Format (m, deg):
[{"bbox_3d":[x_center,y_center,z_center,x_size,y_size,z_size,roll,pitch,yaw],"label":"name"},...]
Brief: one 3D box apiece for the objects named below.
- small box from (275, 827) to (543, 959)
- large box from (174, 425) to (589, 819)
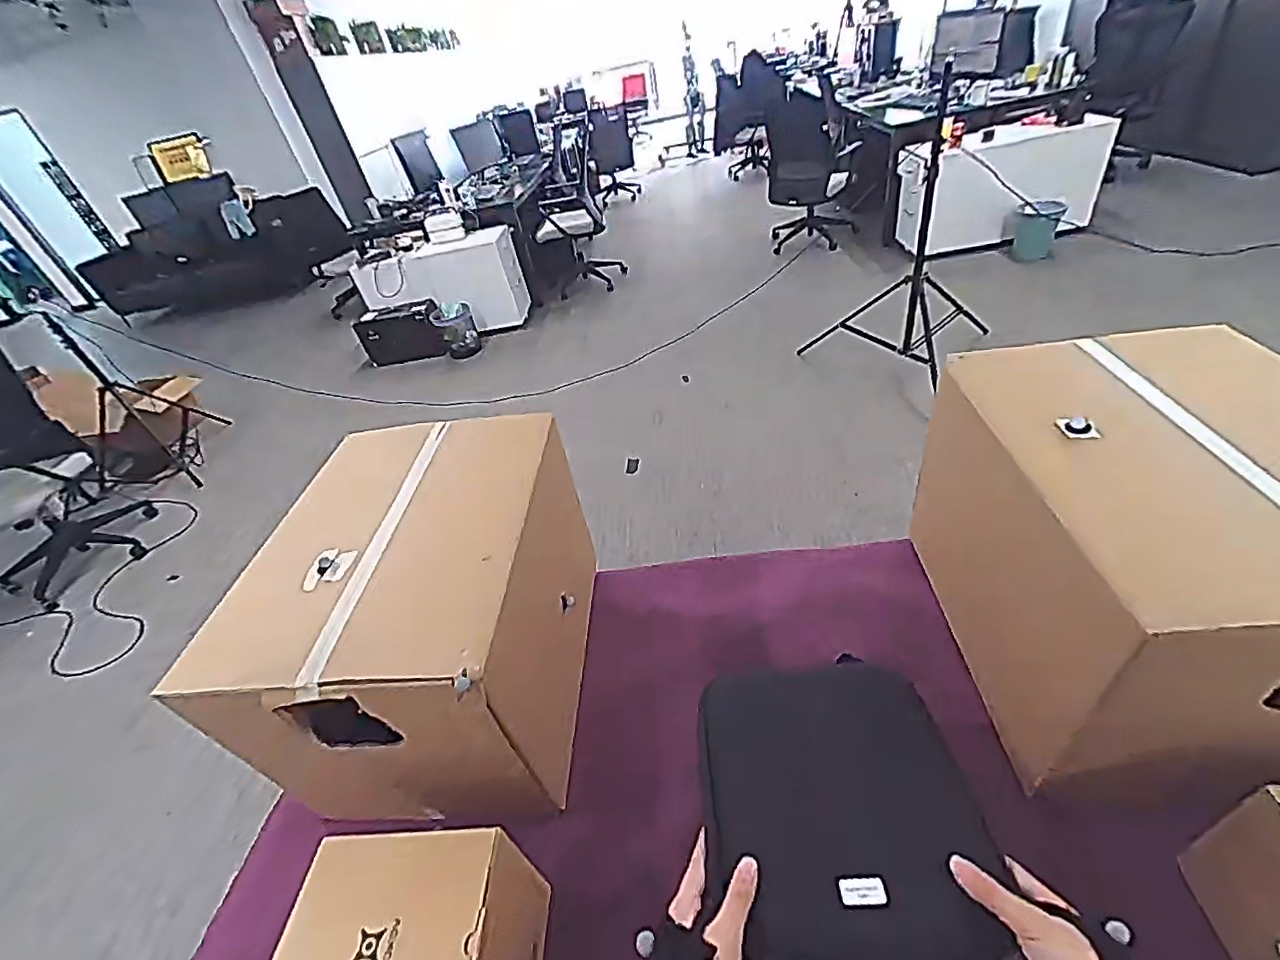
[{"bbox_3d":[-0.204,0.444,0.492,0.179,0.176,0.168,-8,37,6],"label":"small box"},{"bbox_3d":[-0.257,0.177,0.723,0.320,0.320,0.408,-6,41,7],"label":"large box"}]
